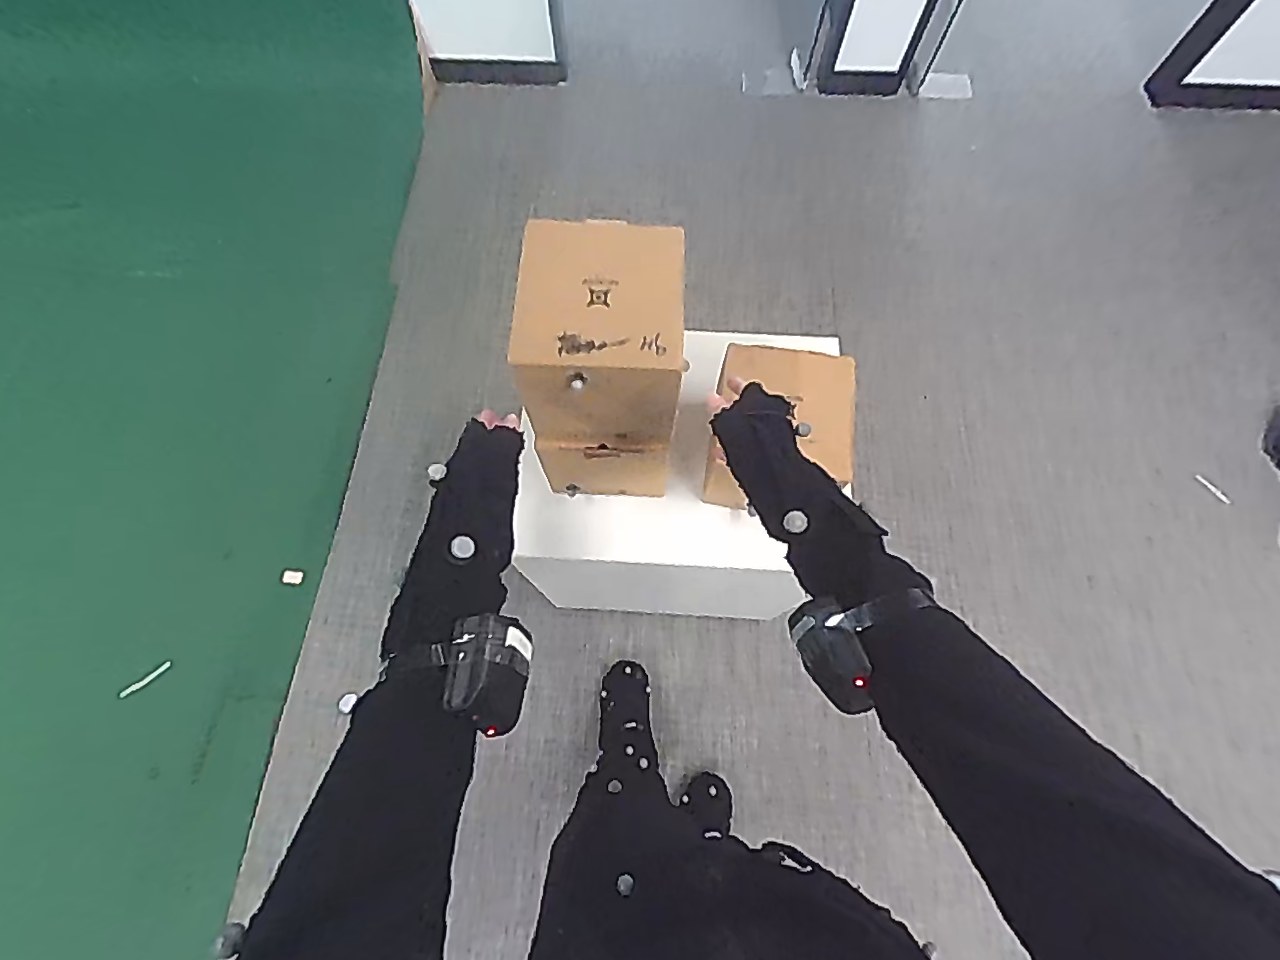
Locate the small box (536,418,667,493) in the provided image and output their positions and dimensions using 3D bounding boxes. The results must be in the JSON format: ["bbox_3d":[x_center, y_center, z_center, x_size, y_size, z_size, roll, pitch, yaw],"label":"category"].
[{"bbox_3d":[-0.043,-0.089,0.765,0.168,0.176,0.179,2,68,1],"label":"small box"}]

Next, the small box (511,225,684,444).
[{"bbox_3d":[-0.039,-0.158,0.617,0.168,0.176,0.179,2,68,1],"label":"small box"}]
